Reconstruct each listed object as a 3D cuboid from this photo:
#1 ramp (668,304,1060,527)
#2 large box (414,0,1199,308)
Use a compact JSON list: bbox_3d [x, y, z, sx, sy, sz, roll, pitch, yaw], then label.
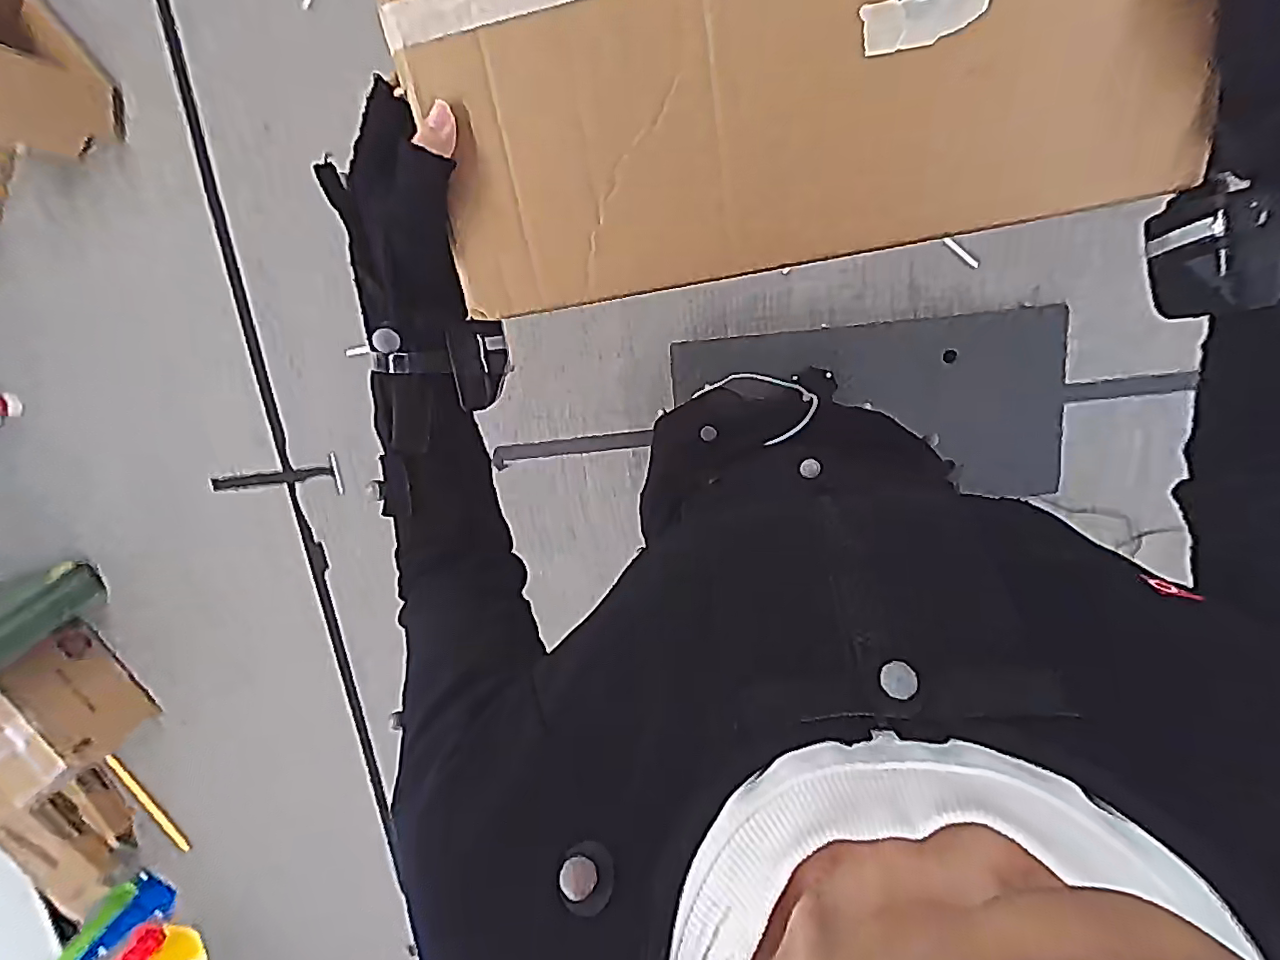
[{"bbox_3d":[0.588,-0.160,1.420,0.991,0.206,0.509,-6,99,12],"label":"ramp"},{"bbox_3d":[0.083,-0.334,0.411,0.408,0.320,0.320,-7,111,9],"label":"large box"}]
